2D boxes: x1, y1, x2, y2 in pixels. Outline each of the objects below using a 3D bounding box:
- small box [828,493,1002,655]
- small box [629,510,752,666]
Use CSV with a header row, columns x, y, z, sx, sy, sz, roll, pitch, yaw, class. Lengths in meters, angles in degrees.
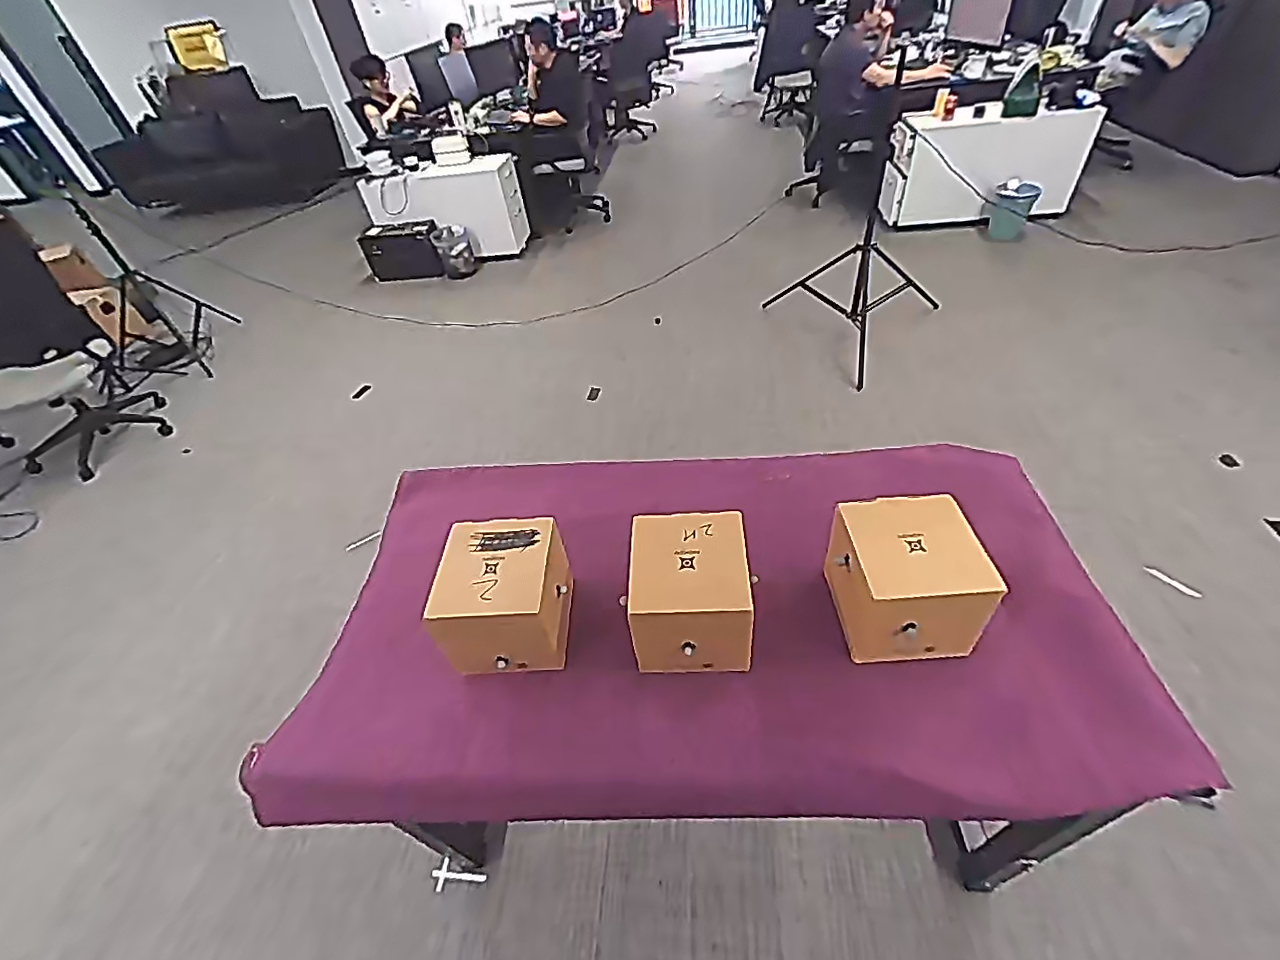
x,y,z,sx,sy,sz,roll,pitch,yaw,class
0.387,0.144,0.799,0.168,0.176,0.179,-5,42,4,small box
0.079,0.168,0.822,0.168,0.176,0.179,-2,44,5,small box
